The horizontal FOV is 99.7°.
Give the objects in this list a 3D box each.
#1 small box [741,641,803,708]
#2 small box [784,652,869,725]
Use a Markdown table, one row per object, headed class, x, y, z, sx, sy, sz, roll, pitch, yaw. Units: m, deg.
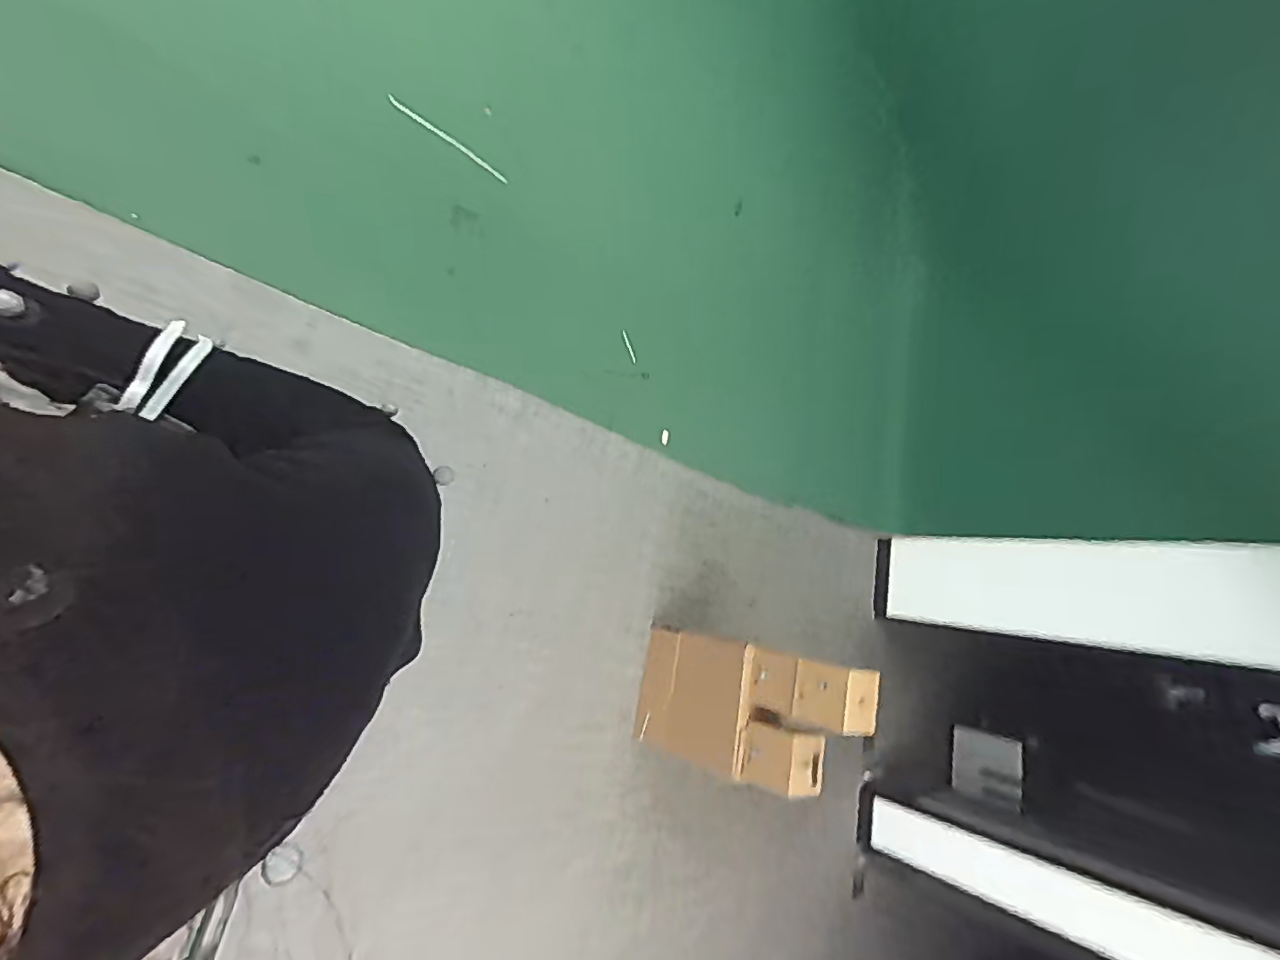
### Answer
| class | x | y | z | sx | sy | sz | roll | pitch | yaw |
| --- | --- | --- | --- | --- | --- | --- | --- | --- | --- |
| small box | 0.448 | 0.617 | 1.717 | 0.179 | 0.176 | 0.168 | 20 | 76 | -37 |
| small box | 0.545 | 0.608 | 1.586 | 0.179 | 0.176 | 0.168 | 20 | 76 | -38 |
